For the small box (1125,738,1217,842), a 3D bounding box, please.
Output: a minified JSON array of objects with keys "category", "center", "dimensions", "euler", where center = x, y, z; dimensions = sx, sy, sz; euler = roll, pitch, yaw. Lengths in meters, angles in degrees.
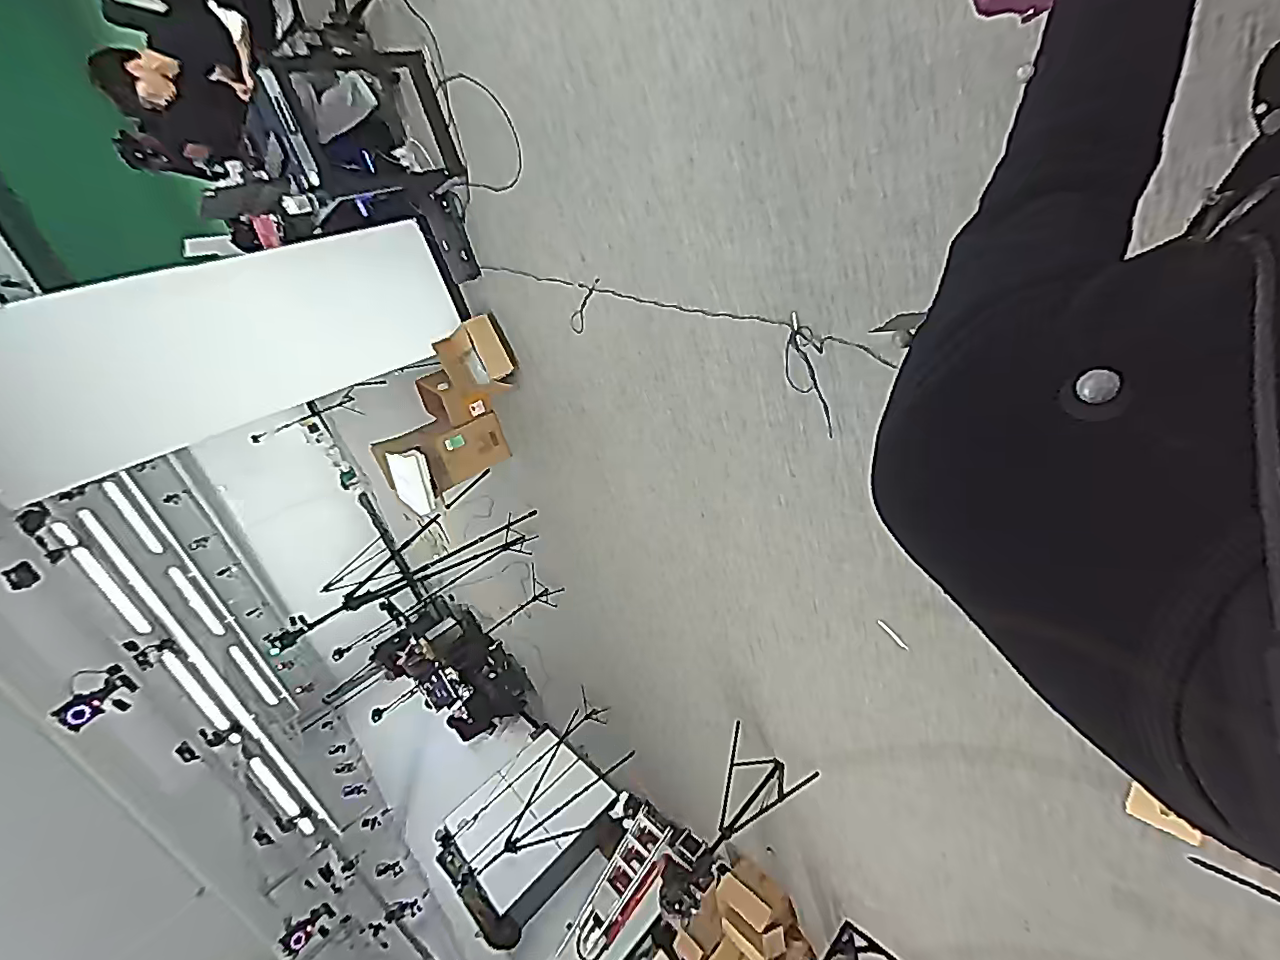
[{"category":"small box","center":[1.595,0.922,1.624],"dimensions":[0.168,0.176,0.179],"euler":[16,131,48]}]
